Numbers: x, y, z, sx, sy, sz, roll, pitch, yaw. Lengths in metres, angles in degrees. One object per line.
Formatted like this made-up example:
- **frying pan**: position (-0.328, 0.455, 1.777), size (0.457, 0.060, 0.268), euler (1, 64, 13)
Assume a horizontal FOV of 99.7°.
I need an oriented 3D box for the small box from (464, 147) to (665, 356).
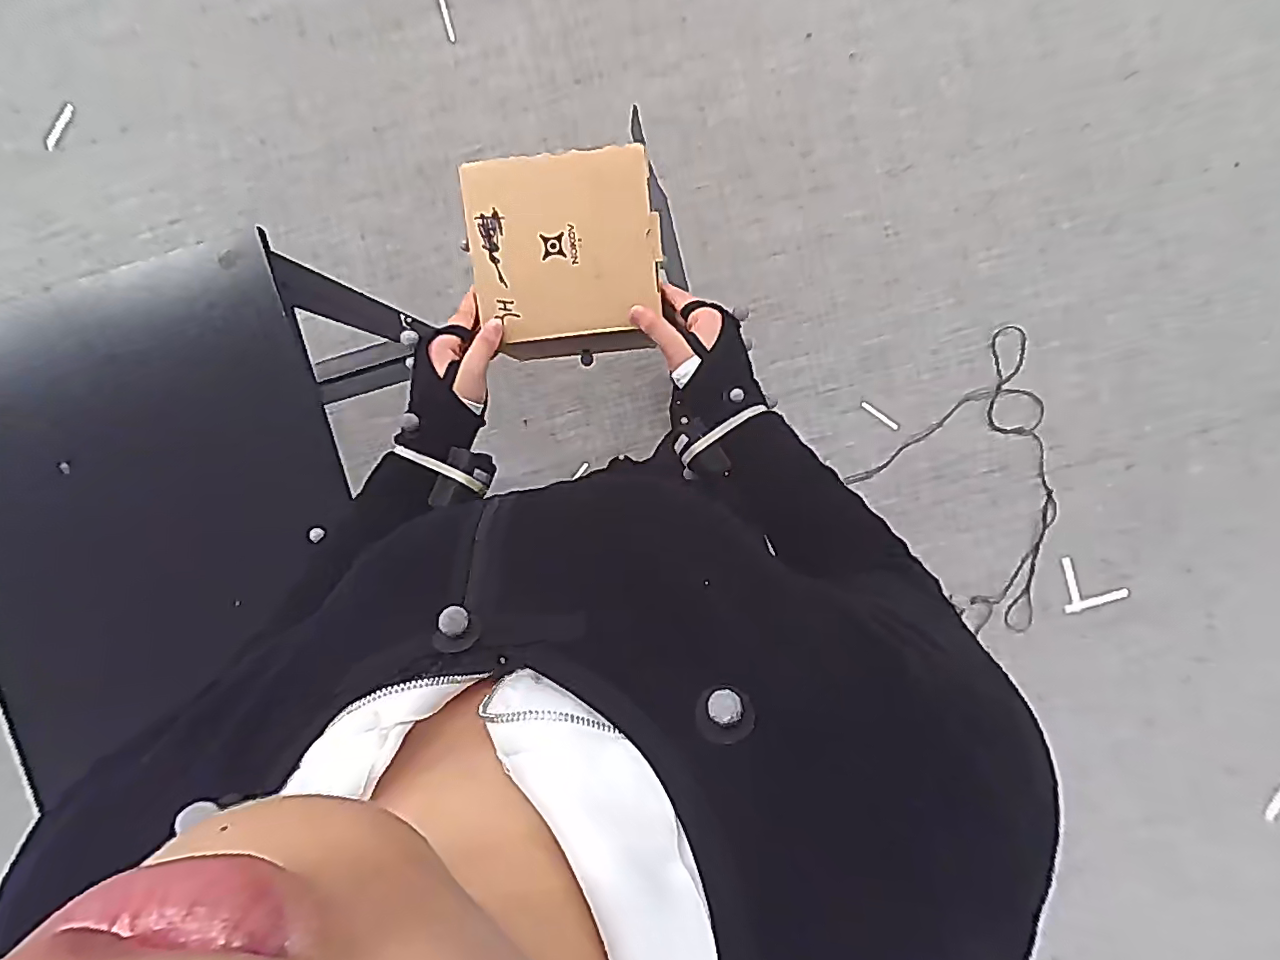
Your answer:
- **small box**: position (-0.072, -0.230, 0.584), size (0.179, 0.176, 0.168), euler (-6, 98, -1)
